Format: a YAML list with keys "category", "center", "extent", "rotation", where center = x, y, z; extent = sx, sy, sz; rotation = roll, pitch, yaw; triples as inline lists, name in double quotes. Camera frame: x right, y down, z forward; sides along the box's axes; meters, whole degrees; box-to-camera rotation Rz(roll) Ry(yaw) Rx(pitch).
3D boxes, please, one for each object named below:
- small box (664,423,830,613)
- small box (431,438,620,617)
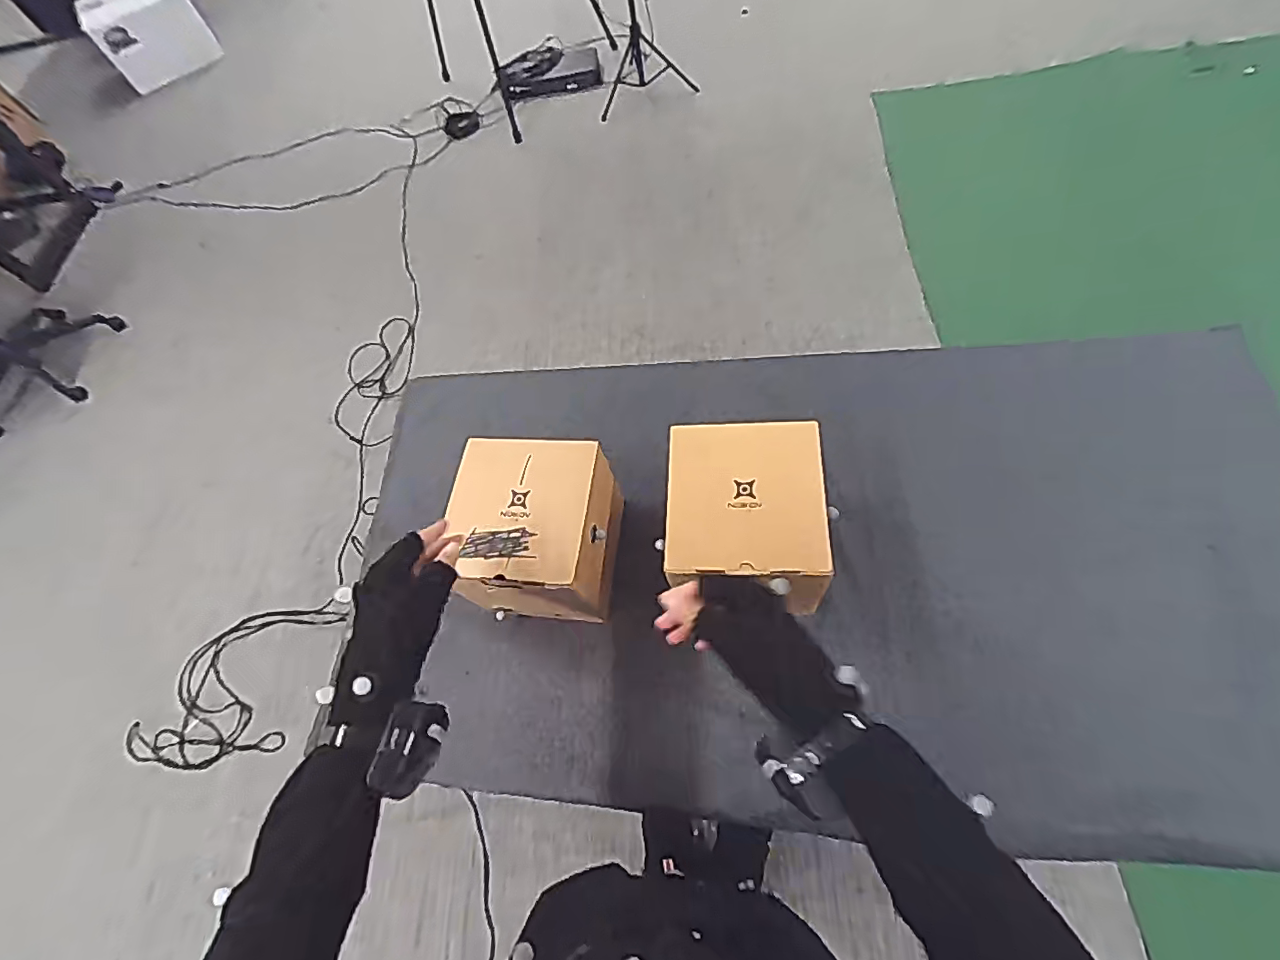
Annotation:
- category: "small box"
  center: [0.121, 0.050, 0.645]
  extent: [0.168, 0.176, 0.179]
  rotation: [-1, 64, 9]
- category: "small box"
  center: [-0.126, 0.065, 0.678]
  extent: [0.168, 0.176, 0.179]
  rotation: [2, 63, 11]
